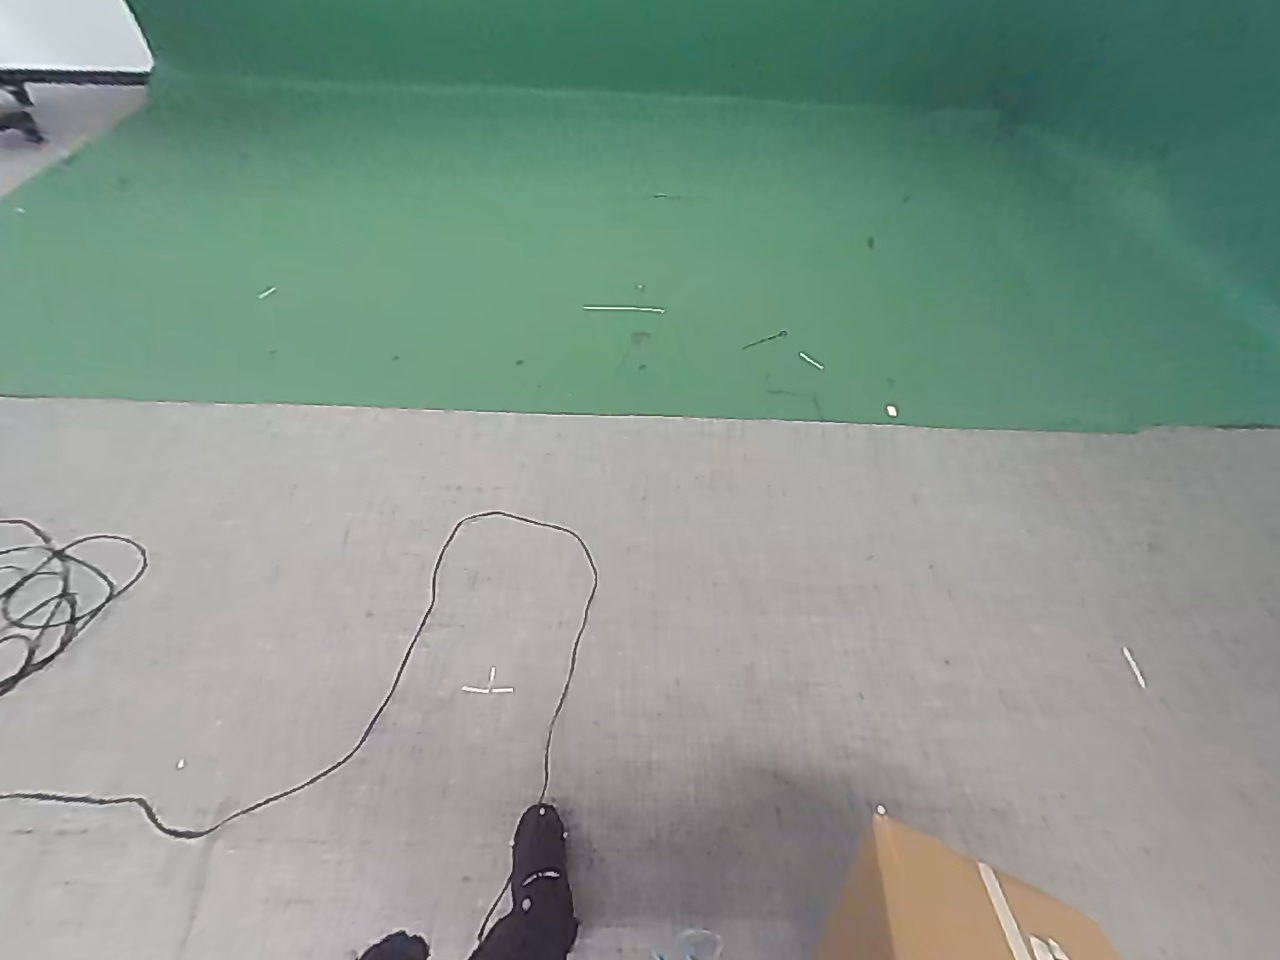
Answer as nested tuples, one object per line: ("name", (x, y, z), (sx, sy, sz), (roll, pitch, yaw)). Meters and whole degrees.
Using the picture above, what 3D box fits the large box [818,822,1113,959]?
("large box", (0.394, 0.724, 0.624), (0.320, 0.408, 0.320), (21, 98, 16))
